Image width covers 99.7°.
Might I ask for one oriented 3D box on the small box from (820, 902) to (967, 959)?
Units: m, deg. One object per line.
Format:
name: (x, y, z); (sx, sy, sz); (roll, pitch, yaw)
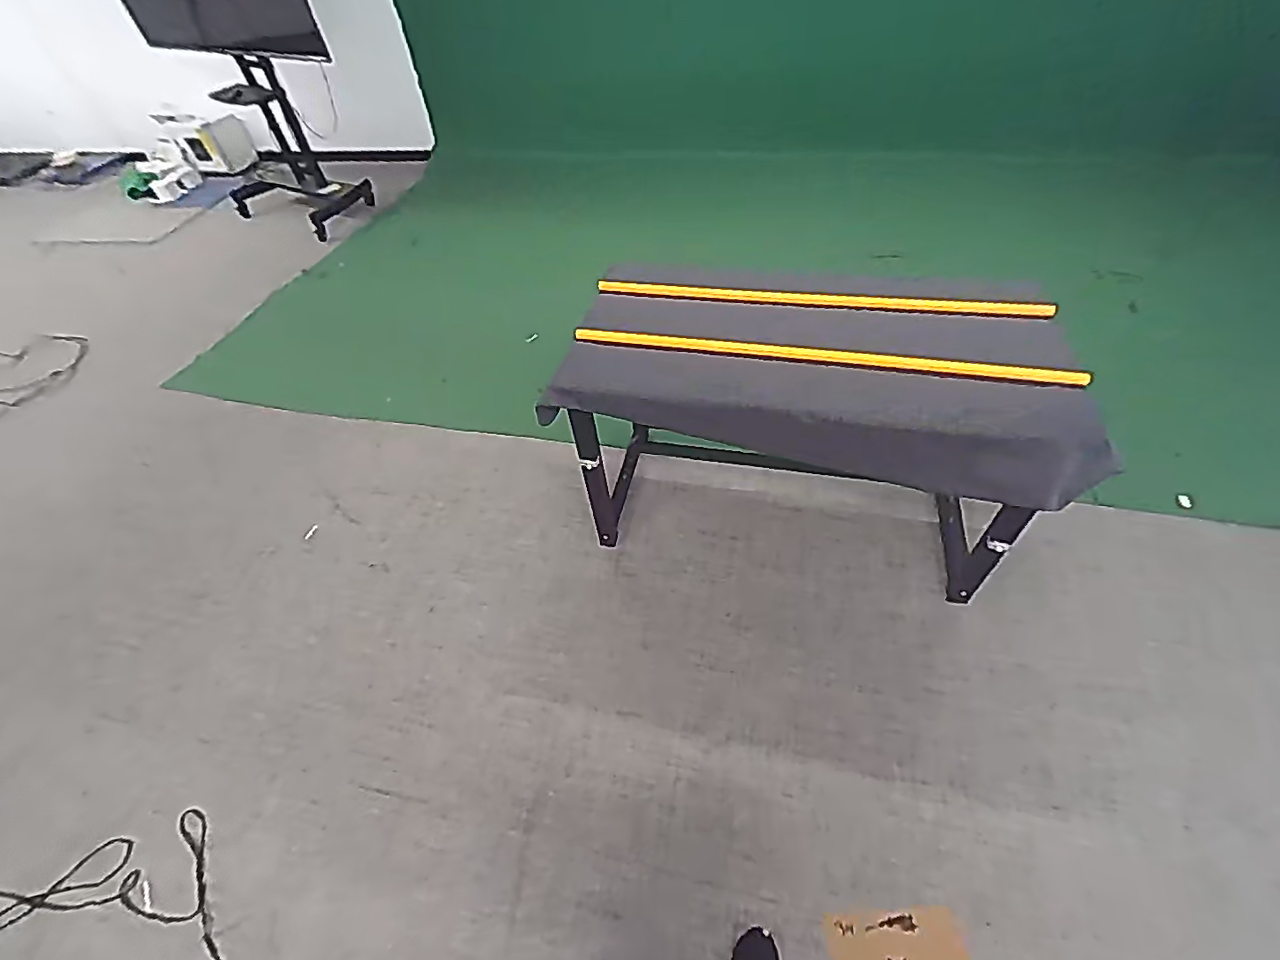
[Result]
small box: (0.340, 0.677, 0.660); (0.168, 0.176, 0.179); (-16, 6, 8)
